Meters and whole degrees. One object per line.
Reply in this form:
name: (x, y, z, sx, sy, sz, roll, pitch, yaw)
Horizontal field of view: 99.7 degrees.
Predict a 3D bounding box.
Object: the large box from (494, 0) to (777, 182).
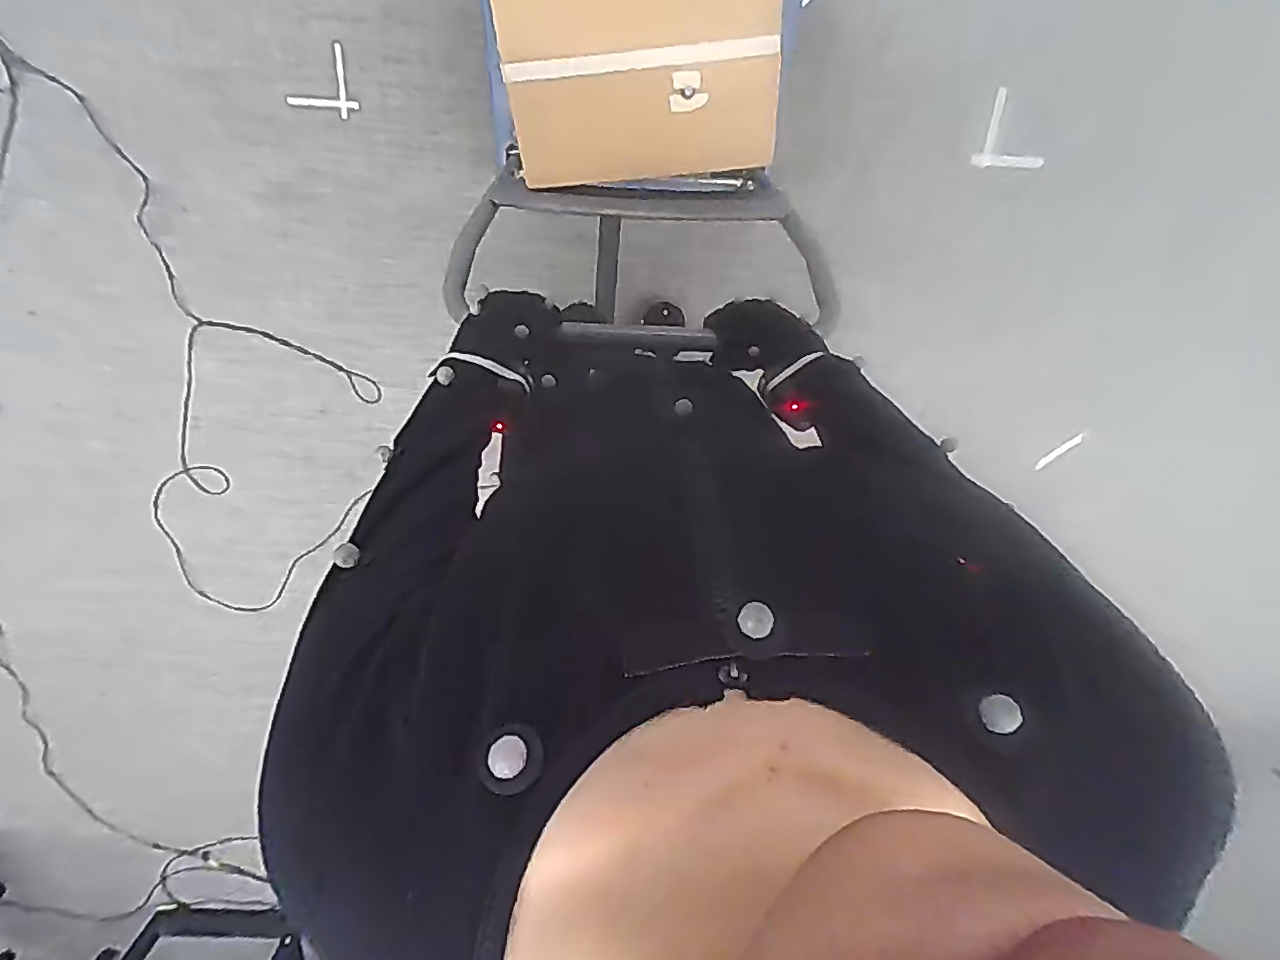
large box: (-0.006, -0.724, 0.910, 0.408, 0.320, 0.320, -5, 130, 1)
